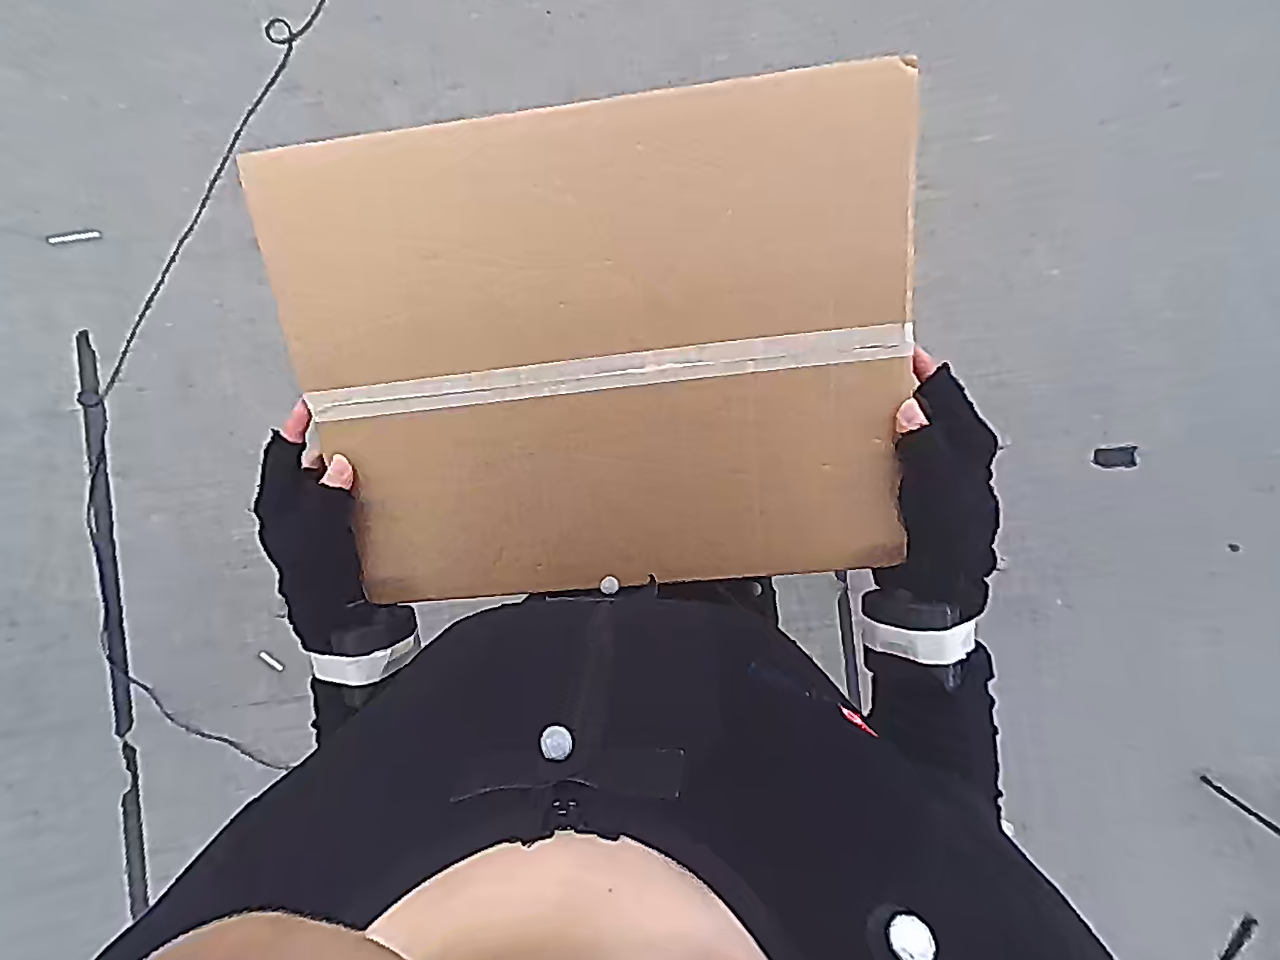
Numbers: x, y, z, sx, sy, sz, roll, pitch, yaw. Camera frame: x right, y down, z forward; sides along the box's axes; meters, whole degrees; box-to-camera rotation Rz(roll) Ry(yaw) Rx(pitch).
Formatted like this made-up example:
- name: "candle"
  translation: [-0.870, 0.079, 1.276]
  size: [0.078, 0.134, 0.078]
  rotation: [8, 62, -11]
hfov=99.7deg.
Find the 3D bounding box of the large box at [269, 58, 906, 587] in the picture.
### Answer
- name: "large box"
  translation: [-0.020, -0.121, 0.511]
  size: [0.408, 0.320, 0.320]
  rotation: [-5, 108, 5]
